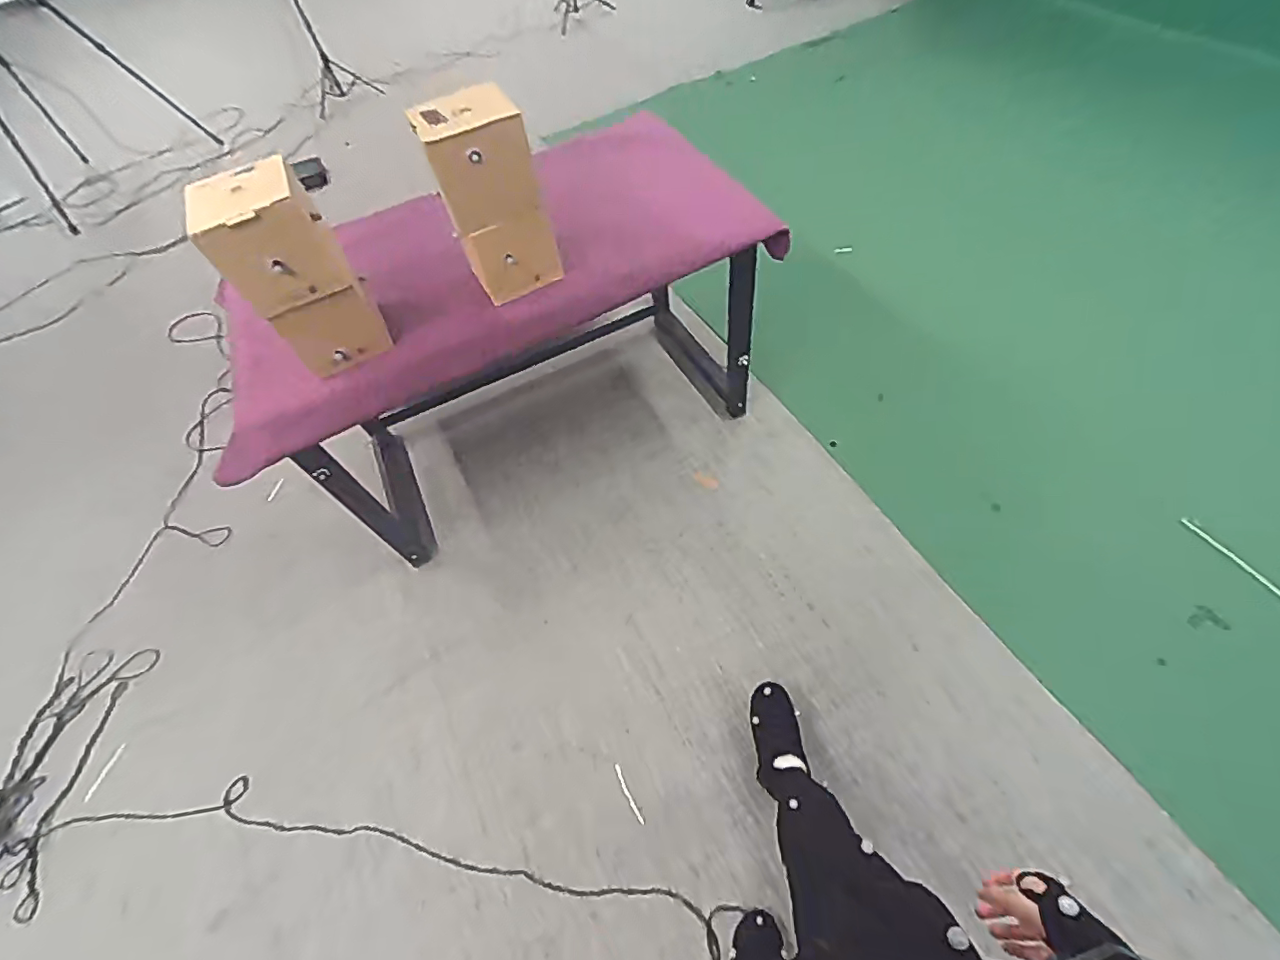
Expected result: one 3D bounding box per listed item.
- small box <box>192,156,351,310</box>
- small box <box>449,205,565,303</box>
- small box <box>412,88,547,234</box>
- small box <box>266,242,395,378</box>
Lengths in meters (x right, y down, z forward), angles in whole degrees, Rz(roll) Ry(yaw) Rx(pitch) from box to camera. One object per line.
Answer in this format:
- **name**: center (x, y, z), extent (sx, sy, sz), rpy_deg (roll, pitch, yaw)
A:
- **small box**: center (-0.637, -0.423, 0.950), extent (0.168, 0.176, 0.179), rpy_deg (-26, 58, -9)
- **small box**: center (-0.278, -0.505, 1.154), extent (0.168, 0.176, 0.179), rpy_deg (-27, 56, -10)
- **small box**: center (-0.297, -0.595, 1.018), extent (0.179, 0.176, 0.168), rpy_deg (-24, 56, -9)
- **small box**: center (-0.625, -0.341, 1.091), extent (0.168, 0.176, 0.179), rpy_deg (-27, 58, -10)
